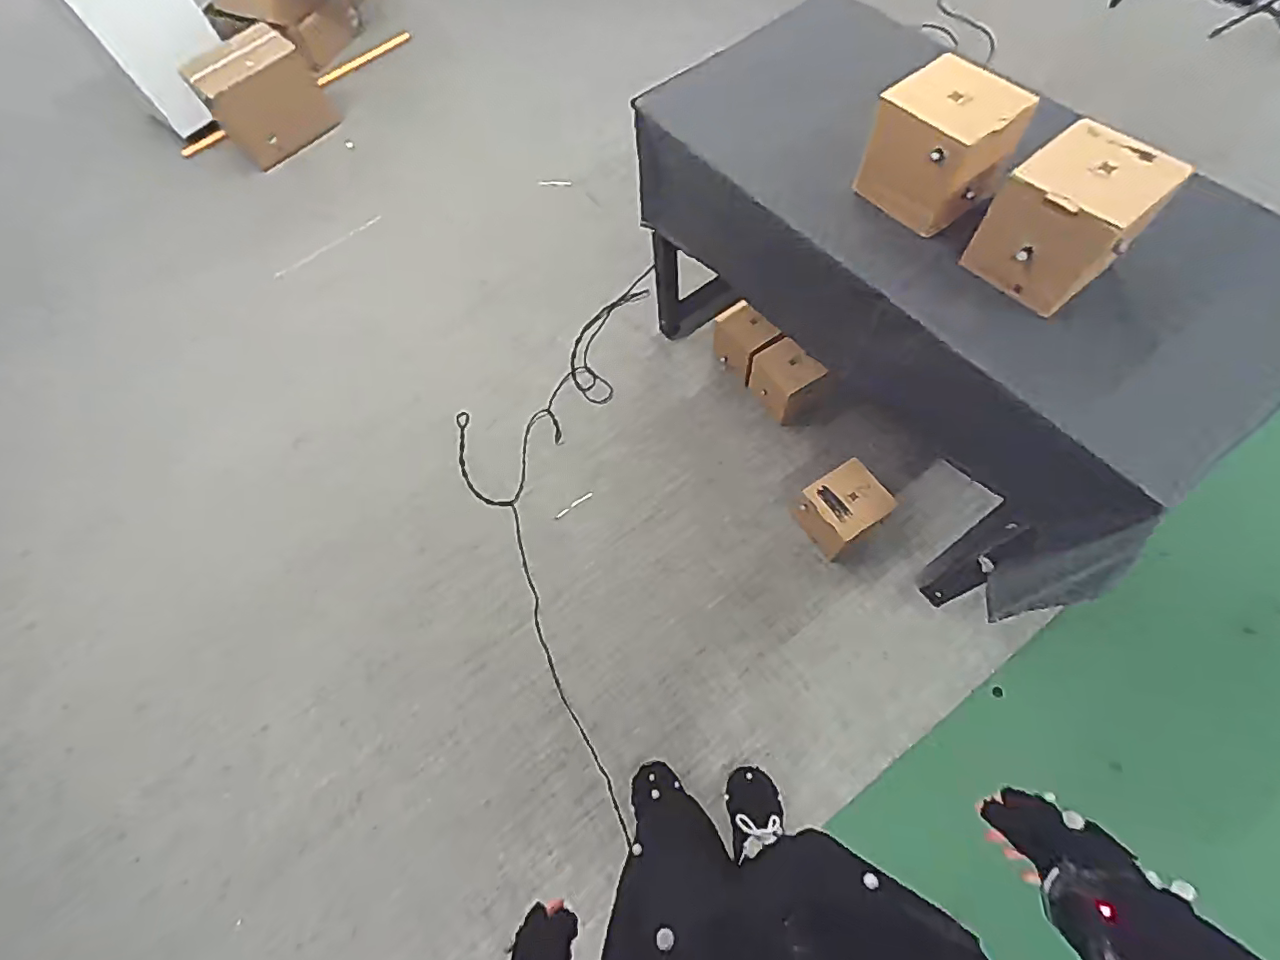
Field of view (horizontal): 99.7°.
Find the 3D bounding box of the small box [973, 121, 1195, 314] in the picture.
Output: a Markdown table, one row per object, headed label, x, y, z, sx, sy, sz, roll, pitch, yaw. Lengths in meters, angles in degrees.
| label | x | y | z | sx | sy | sz | roll | pitch | yaw |
| --- | --- | --- | --- | --- | --- | --- | --- | --- | --- |
| small box | 0.649 | -0.390 | 0.823 | 0.179 | 0.176 | 0.168 | -37 | 67 | -12 |
